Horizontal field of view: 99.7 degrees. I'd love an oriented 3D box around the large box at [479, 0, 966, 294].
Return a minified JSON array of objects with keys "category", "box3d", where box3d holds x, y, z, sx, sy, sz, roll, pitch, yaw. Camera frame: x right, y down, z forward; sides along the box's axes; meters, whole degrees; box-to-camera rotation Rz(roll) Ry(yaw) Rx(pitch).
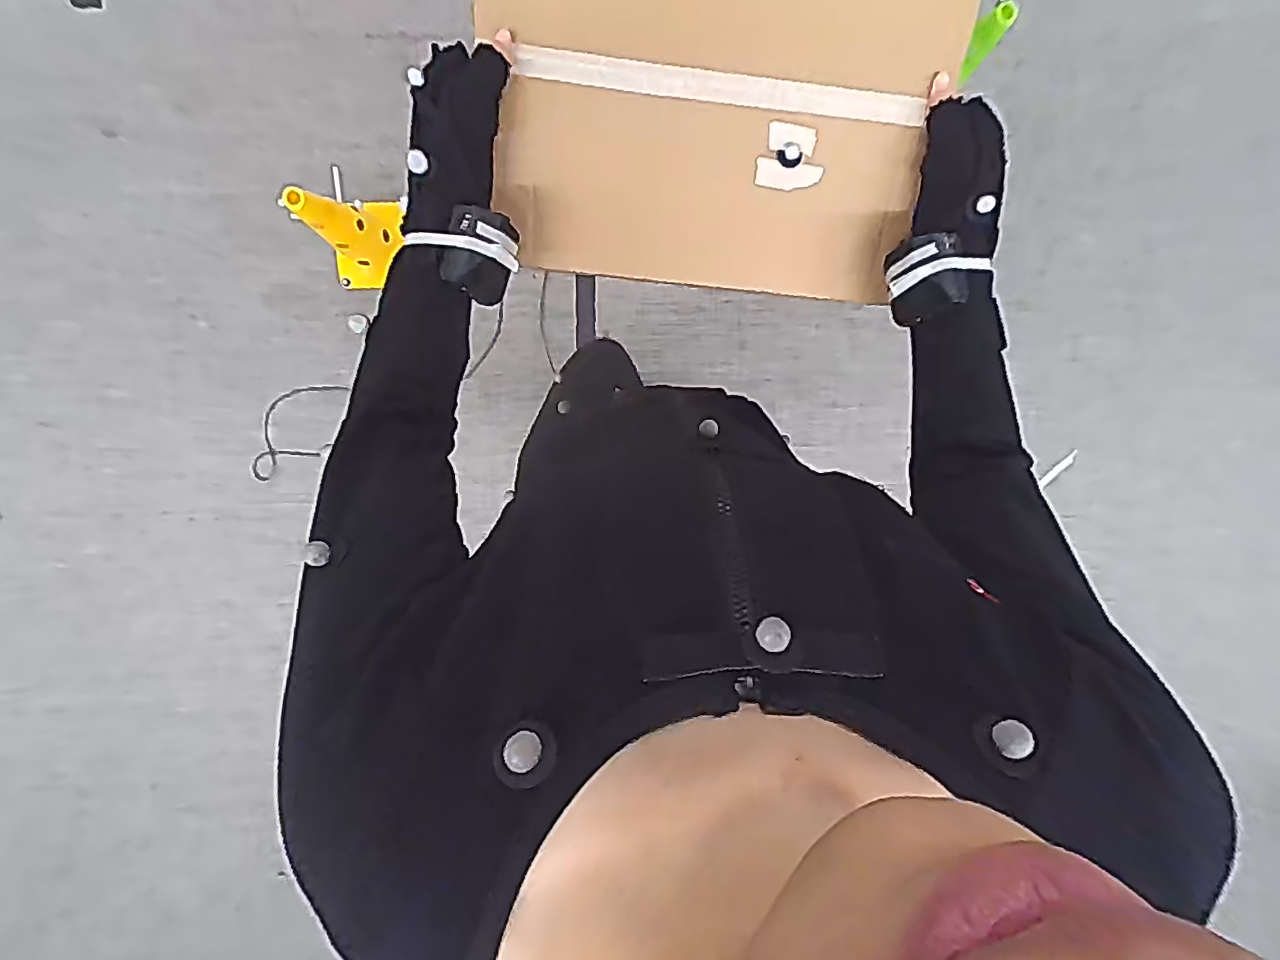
[{"category":"large box","box3d":[0.056,-0.388,0.597,0.408,0.320,0.320,4,111,-5]}]
